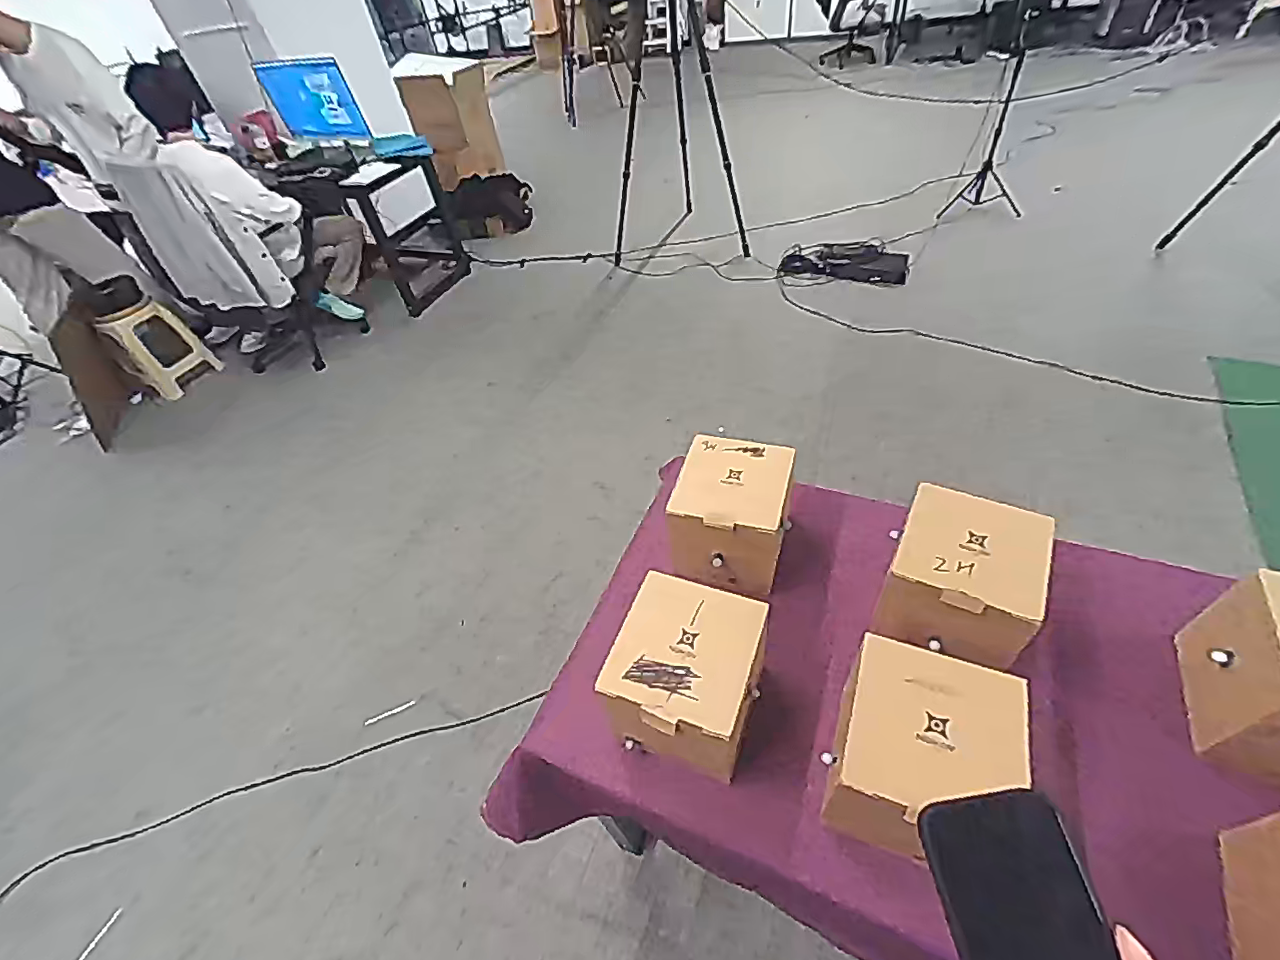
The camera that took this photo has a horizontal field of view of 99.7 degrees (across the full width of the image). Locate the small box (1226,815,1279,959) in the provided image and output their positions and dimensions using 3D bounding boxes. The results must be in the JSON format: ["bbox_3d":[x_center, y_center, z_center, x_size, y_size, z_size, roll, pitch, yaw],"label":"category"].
[{"bbox_3d":[0.657,0.406,0.456,0.168,0.176,0.179,17,53,25],"label":"small box"}]

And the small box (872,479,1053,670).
[{"bbox_3d":[0.438,0.134,0.752,0.168,0.176,0.179,19,53,26],"label":"small box"}]

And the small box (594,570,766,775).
[{"bbox_3d":[0.062,0.253,0.708,0.168,0.176,0.179,13,49,20],"label":"small box"}]

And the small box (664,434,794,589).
[{"bbox_3d":[0.149,0.052,0.882,0.168,0.176,0.179,10,51,18],"label":"small box"}]

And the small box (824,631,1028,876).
[{"bbox_3d":[0.313,0.309,0.612,0.168,0.176,0.179,14,50,21],"label":"small box"}]
